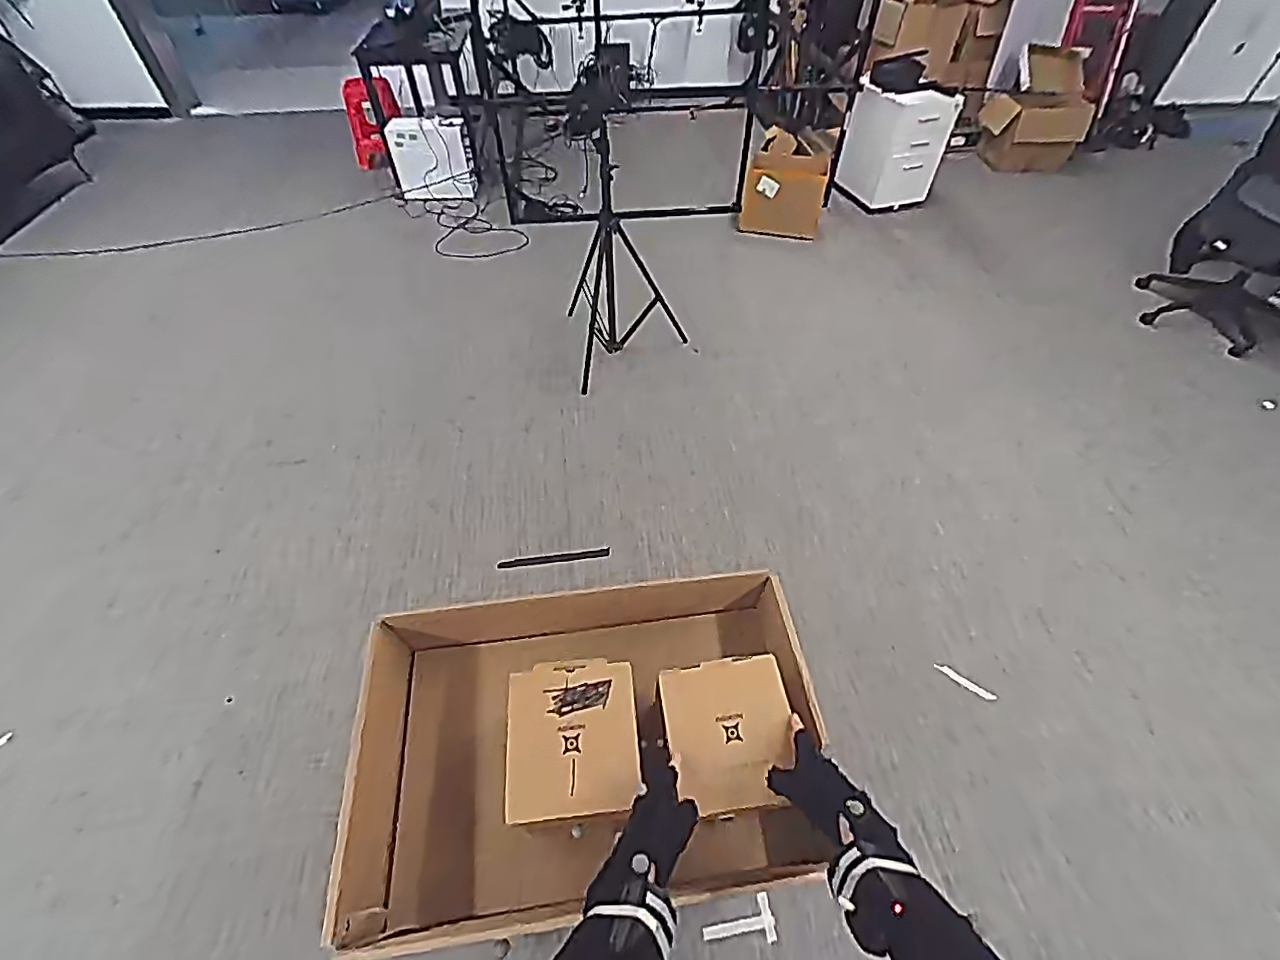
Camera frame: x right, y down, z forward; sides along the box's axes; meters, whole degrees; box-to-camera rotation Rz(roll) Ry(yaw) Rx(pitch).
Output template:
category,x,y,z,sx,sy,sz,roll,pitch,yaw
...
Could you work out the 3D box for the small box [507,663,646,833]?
category,x,y,z,sx,sy,sz,roll,pitch,yaw
small box,-0.084,0.372,0.748,0.168,0.176,0.179,-5,55,-4
